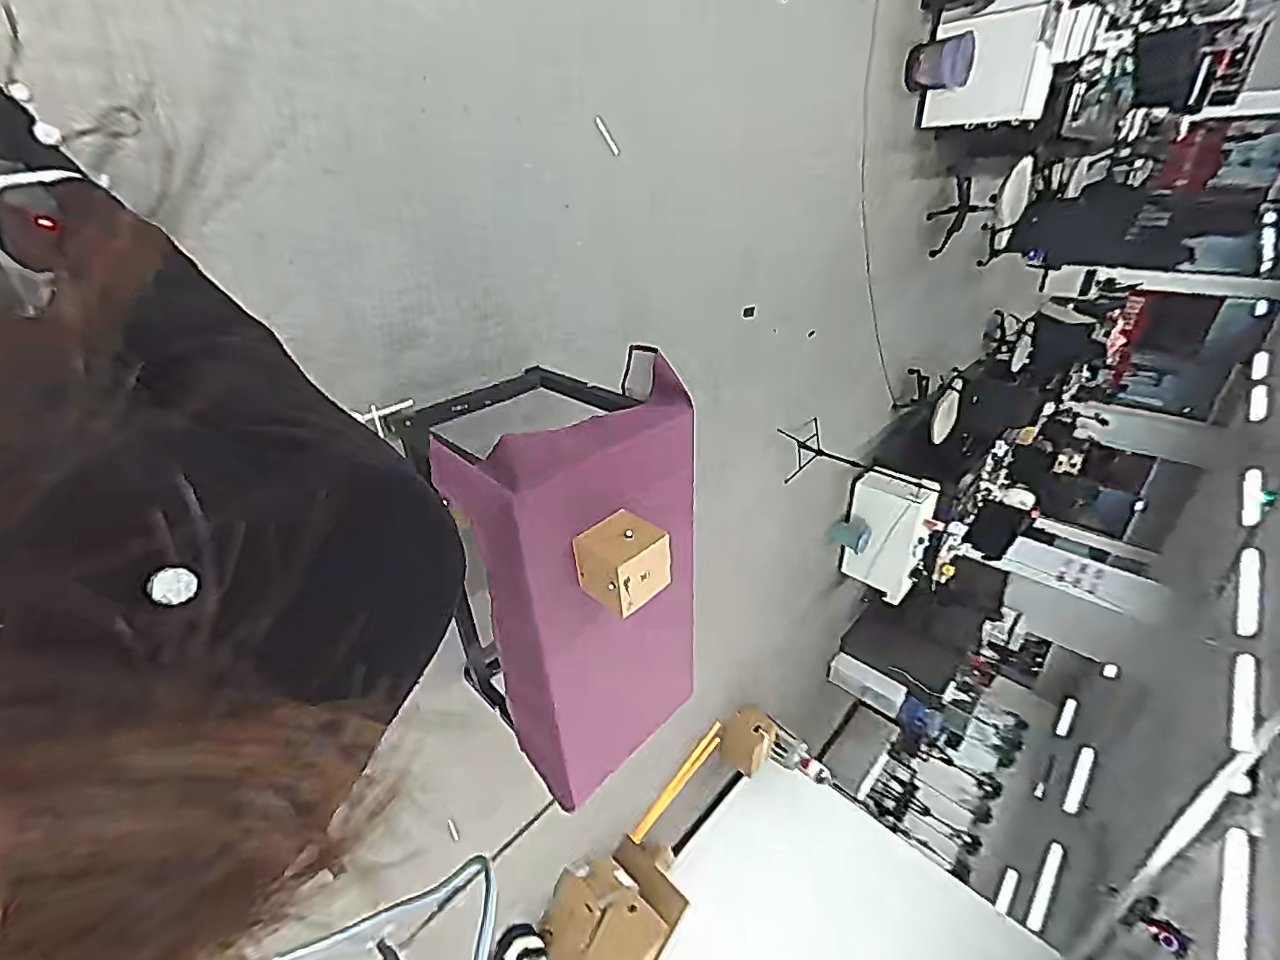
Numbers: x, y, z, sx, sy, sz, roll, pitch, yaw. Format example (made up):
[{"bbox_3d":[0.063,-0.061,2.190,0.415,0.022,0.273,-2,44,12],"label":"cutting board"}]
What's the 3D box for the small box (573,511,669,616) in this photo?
[{"bbox_3d":[-0.046,0.203,1.374,0.179,0.176,0.168,-31,130,-36],"label":"small box"}]
